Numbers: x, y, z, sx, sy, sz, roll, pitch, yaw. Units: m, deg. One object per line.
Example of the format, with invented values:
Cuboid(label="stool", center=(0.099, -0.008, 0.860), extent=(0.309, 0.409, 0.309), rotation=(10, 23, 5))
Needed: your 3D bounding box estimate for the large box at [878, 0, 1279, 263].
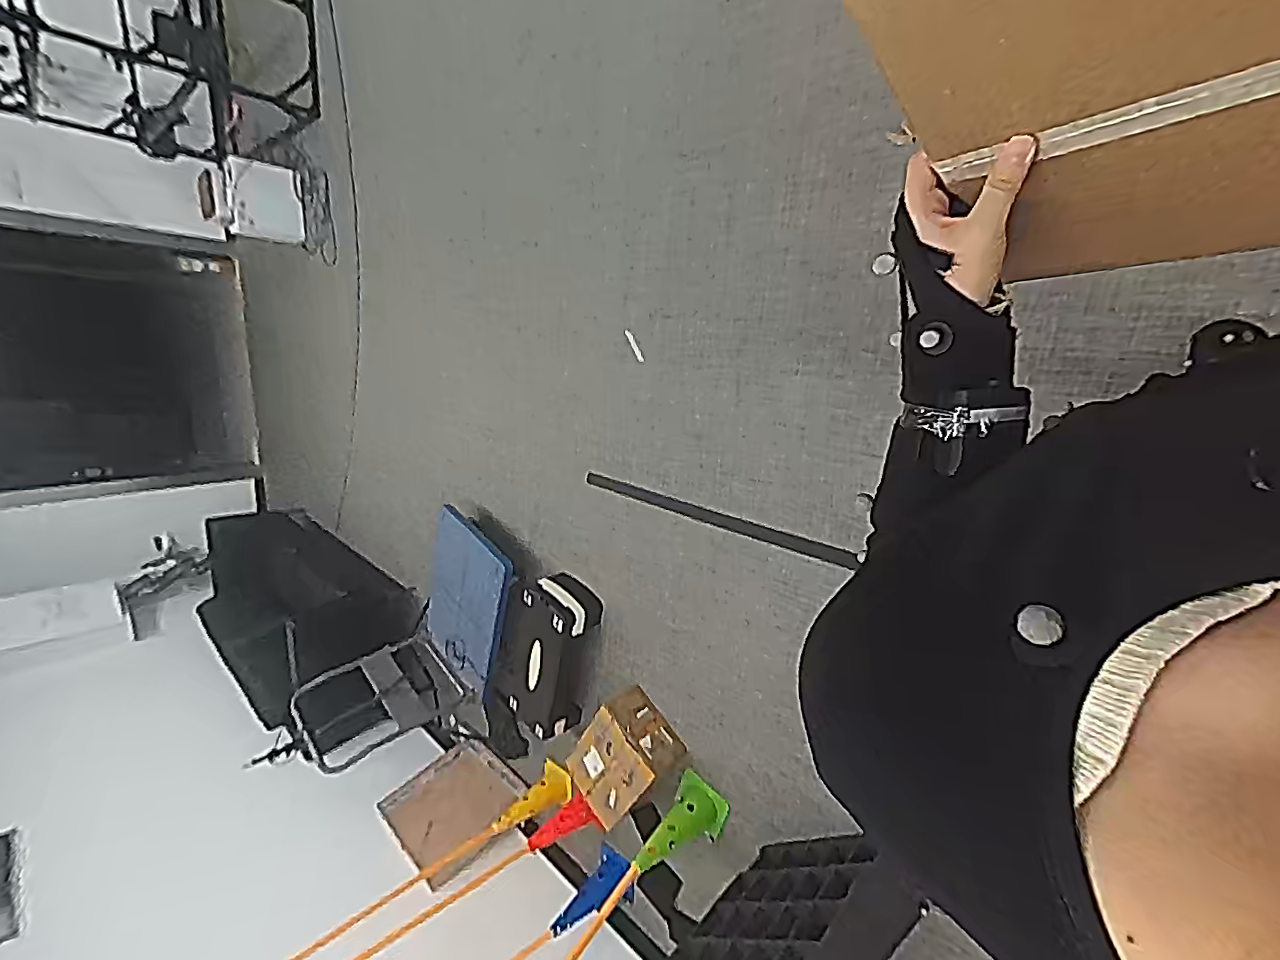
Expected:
Cuboid(label="large box", center=(0.349, -0.330, 0.189), extent=(0.408, 0.320, 0.320), rotation=(9, 84, 48))
